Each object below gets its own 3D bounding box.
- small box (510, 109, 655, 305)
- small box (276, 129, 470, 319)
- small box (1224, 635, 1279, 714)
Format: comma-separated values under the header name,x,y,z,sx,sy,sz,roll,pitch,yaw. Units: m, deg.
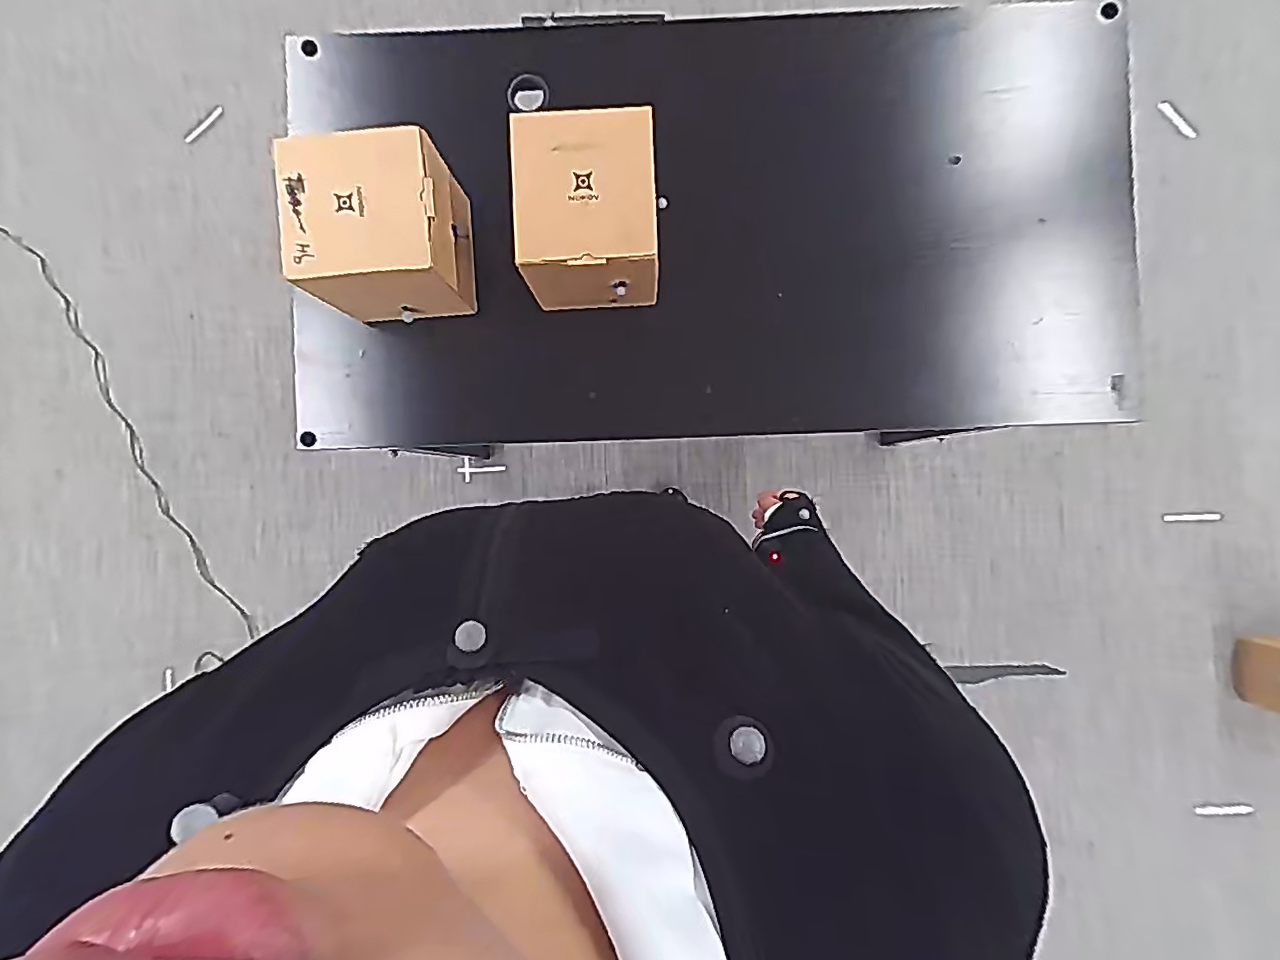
name,x,y,z,sx,sy,sz,roll,pitch,yaw
small box,-0.066,-0.336,0.700,0.168,0.176,0.179,-3,89,-1
small box,-0.327,-0.317,0.700,0.179,0.176,0.168,-4,89,-1
small box,1.688,0.509,1.408,0.168,0.176,0.179,-2,90,1
